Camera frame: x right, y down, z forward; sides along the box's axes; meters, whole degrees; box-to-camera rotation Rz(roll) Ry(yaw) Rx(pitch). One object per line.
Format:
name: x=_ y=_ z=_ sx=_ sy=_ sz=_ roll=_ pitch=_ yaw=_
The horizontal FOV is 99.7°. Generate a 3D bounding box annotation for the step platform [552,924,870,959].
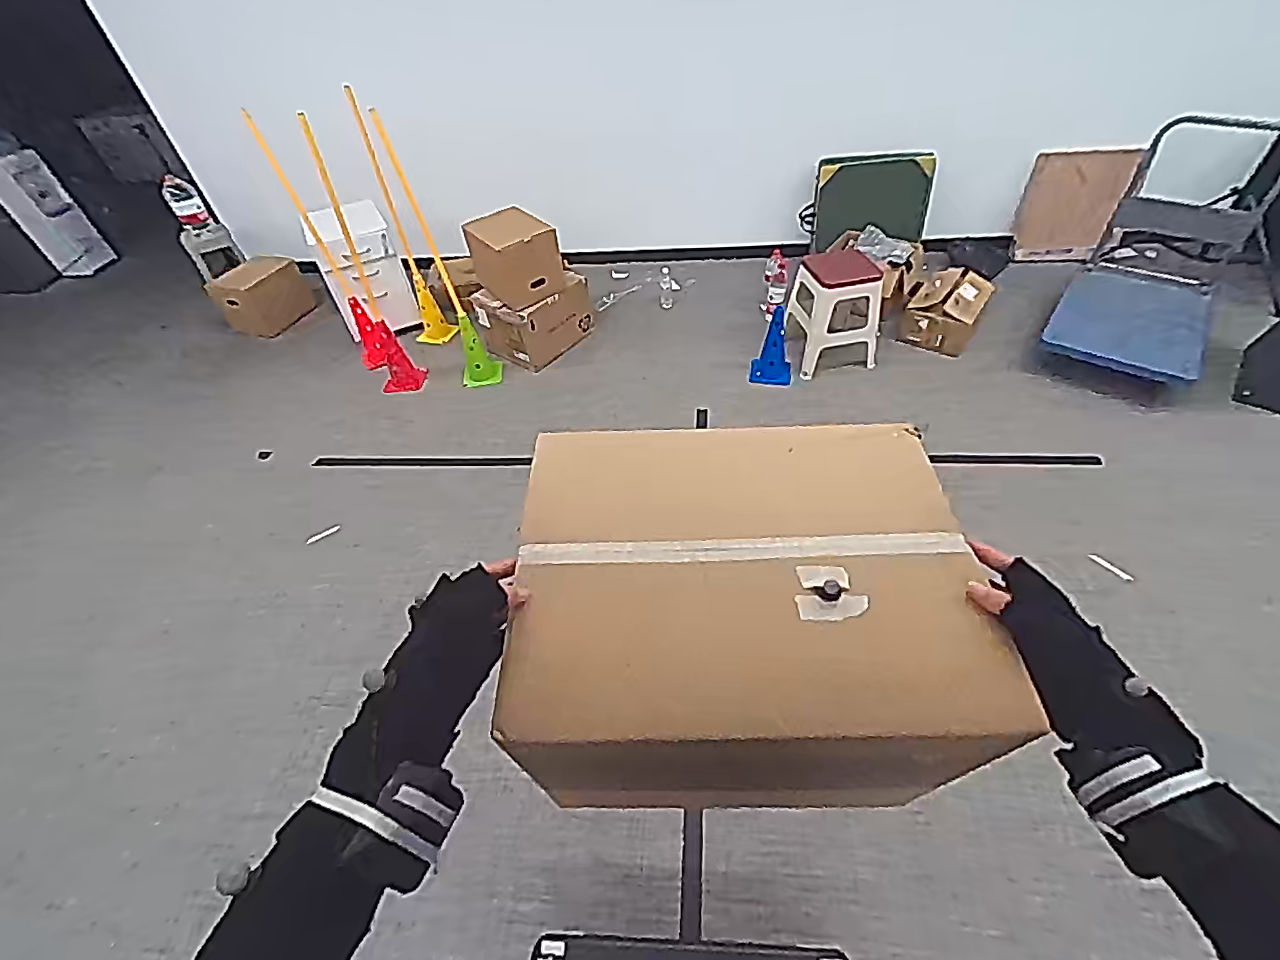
step platform: x=0.142 y=1.096 z=1.094 sx=0.684 sy=0.204 sz=0.286 roll=-1 pitch=47 yaw=4

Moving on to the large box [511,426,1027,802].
large box: x=0.097 y=0.159 z=0.617 sx=0.408 sy=0.320 sz=0.320 roll=-2 pitch=51 yaw=1
